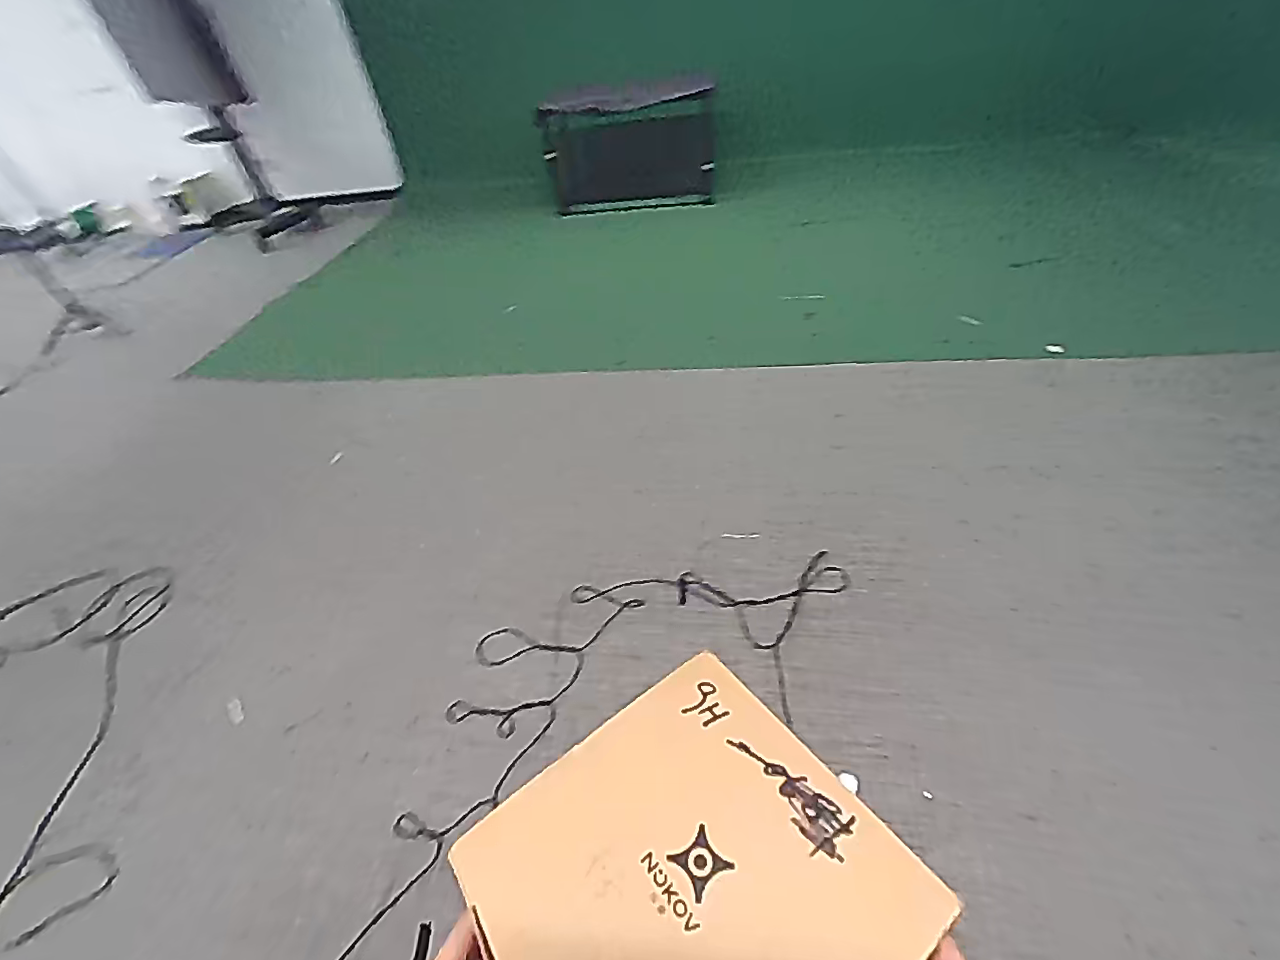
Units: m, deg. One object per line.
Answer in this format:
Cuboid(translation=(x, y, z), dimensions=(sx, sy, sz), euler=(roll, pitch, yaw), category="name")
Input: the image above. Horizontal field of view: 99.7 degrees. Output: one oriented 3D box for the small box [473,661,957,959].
Cuboid(translation=(0.038, 0.251, 0.309), dimensions=(0.179, 0.176, 0.168), euler=(-30, 44, -23), category="small box")
